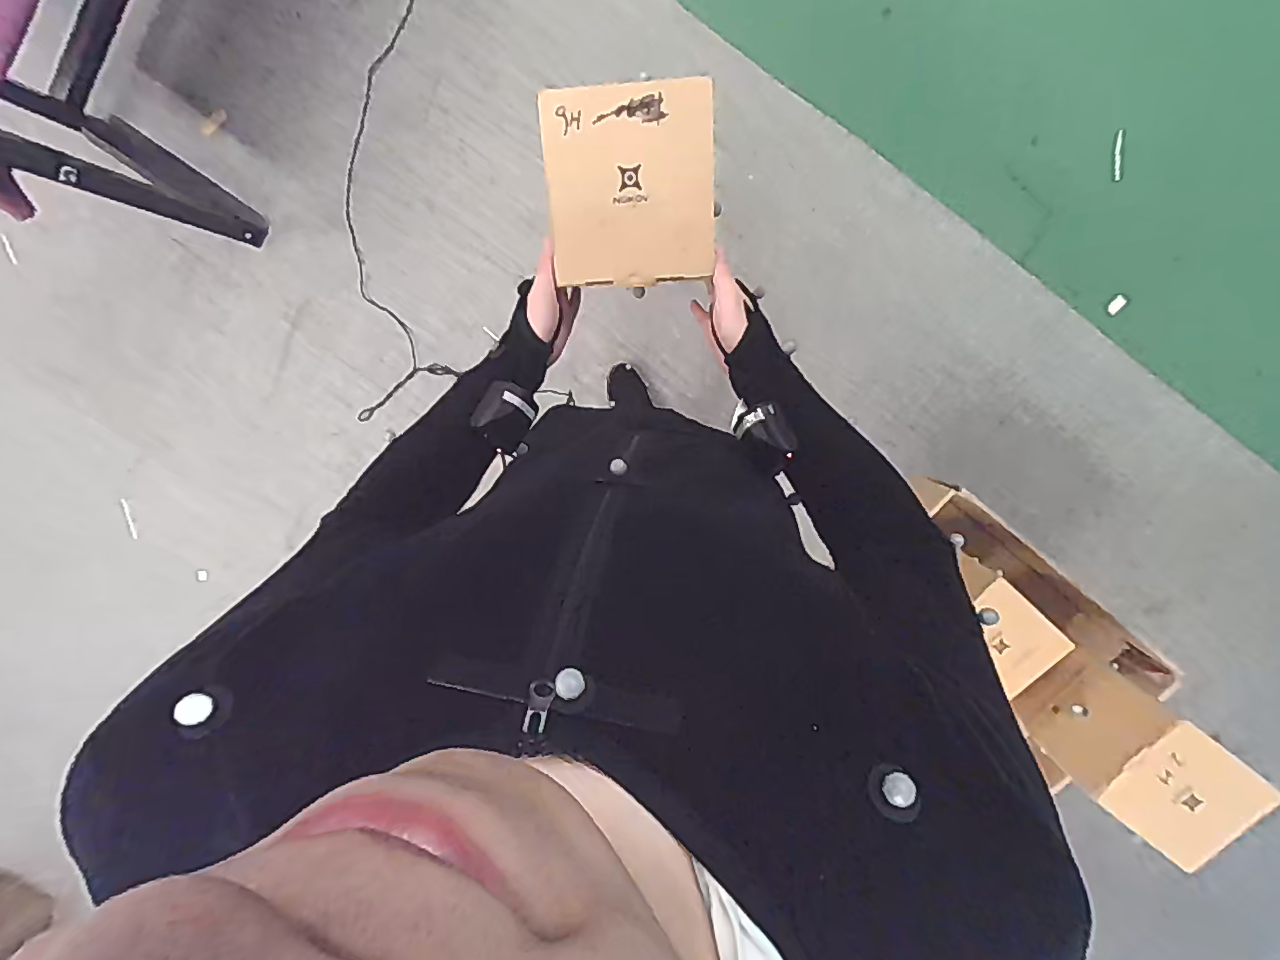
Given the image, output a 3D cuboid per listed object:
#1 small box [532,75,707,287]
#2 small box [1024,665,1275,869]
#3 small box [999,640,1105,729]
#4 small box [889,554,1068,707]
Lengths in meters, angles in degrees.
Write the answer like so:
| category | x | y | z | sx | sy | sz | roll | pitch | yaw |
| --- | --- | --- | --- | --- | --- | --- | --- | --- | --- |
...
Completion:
| category | x | y | z | sx | sy | sz | roll | pitch | yaw |
| --- | --- | --- | --- | --- | --- | --- | --- | --- | --- |
| small box | -0.011 | -0.316 | 0.602 | 0.168 | 0.176 | 0.179 | -2 | 111 | 3 |
| small box | 0.747 | 0.418 | 0.818 | 0.179 | 0.176 | 0.168 | 38 | 100 | 0 |
| small box | 0.775 | 0.402 | 0.981 | 0.179 | 0.176 | 0.168 | 40 | 101 | 0 |
| small box | 0.586 | 0.253 | 0.964 | 0.179 | 0.176 | 0.168 | 42 | 101 | -4 |
